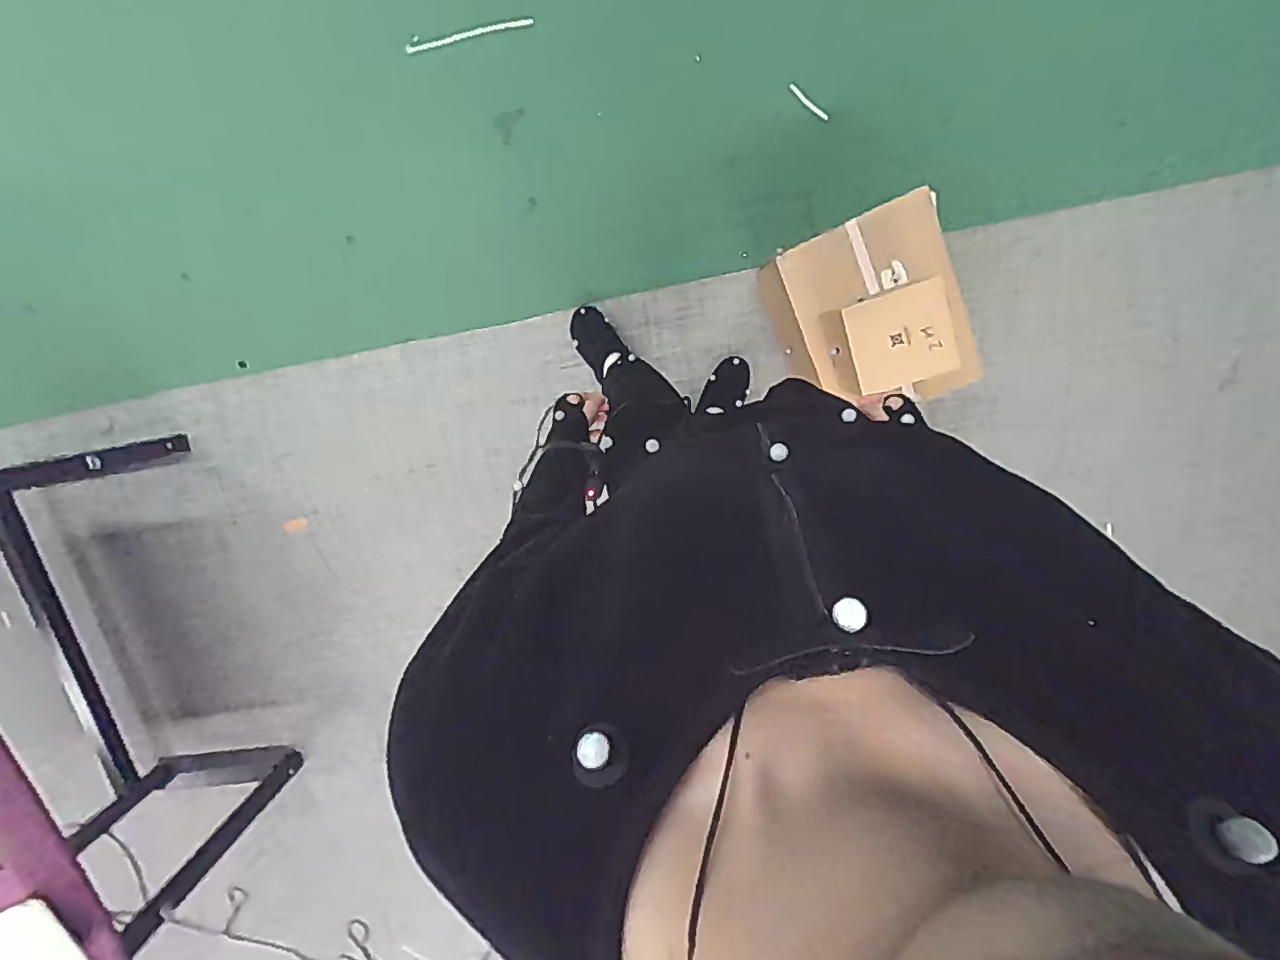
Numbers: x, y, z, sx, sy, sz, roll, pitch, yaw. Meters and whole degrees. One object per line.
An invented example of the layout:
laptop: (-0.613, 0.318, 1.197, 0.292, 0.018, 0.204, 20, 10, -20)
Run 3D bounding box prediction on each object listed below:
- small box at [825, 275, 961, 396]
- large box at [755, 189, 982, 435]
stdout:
small box: (0.460, -0.266, 1.014, 0.179, 0.176, 0.168, -17, 104, 9)
large box: (0.496, -0.362, 1.242, 0.320, 0.320, 0.408, -23, 100, 8)
